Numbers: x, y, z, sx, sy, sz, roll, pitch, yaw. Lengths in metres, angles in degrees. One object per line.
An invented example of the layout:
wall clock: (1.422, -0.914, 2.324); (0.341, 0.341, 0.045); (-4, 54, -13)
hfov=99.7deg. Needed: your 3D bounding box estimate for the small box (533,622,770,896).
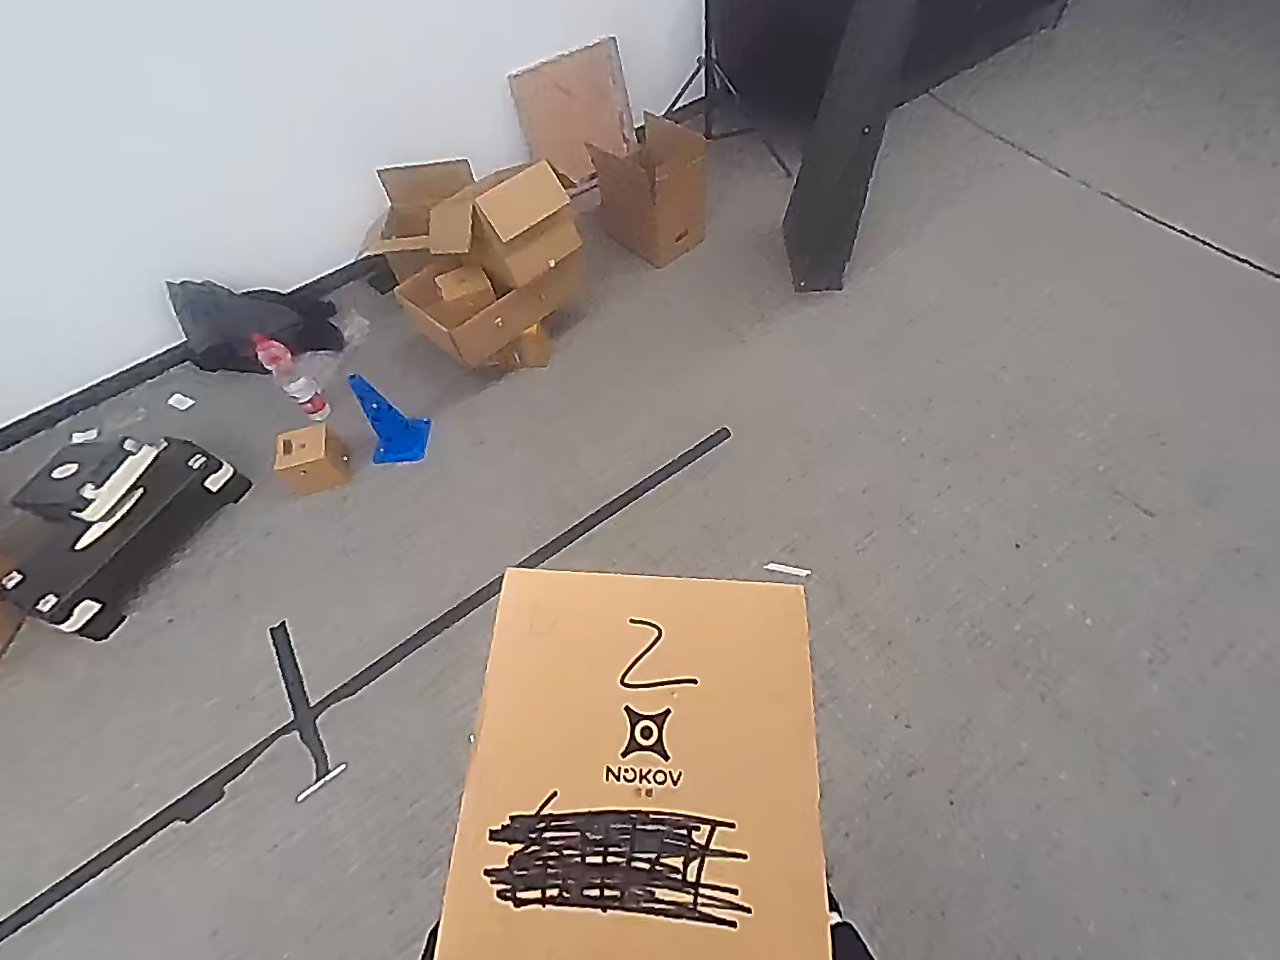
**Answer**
small box: (0.013, 0.235, 0.476); (0.168, 0.176, 0.179); (2, 63, 3)
